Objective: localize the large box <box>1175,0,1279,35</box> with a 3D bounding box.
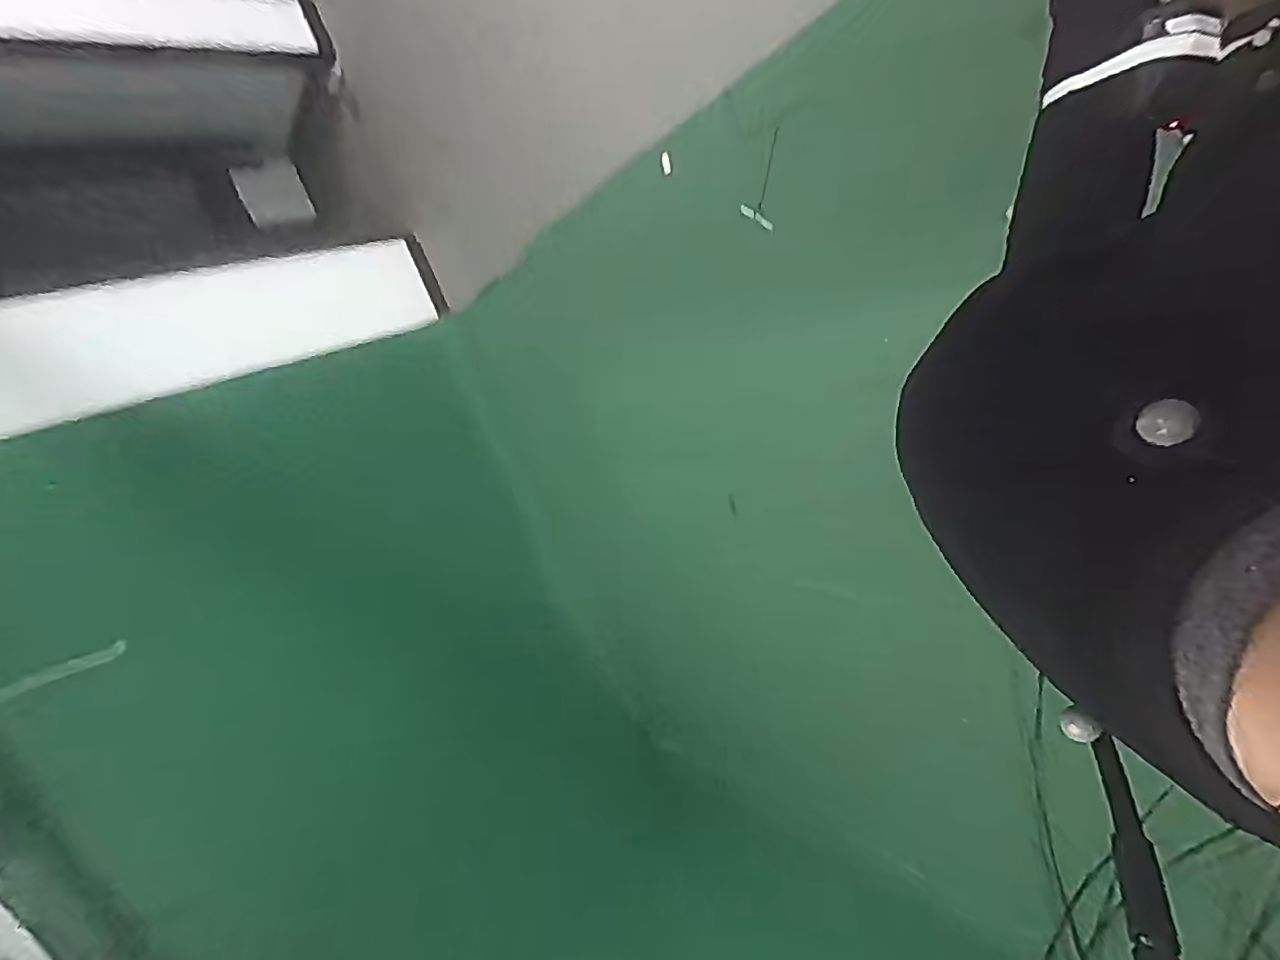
[{"bbox_3d":[0.531,-0.502,0.243,0.408,0.320,0.320,4,113,45],"label":"large box"}]
